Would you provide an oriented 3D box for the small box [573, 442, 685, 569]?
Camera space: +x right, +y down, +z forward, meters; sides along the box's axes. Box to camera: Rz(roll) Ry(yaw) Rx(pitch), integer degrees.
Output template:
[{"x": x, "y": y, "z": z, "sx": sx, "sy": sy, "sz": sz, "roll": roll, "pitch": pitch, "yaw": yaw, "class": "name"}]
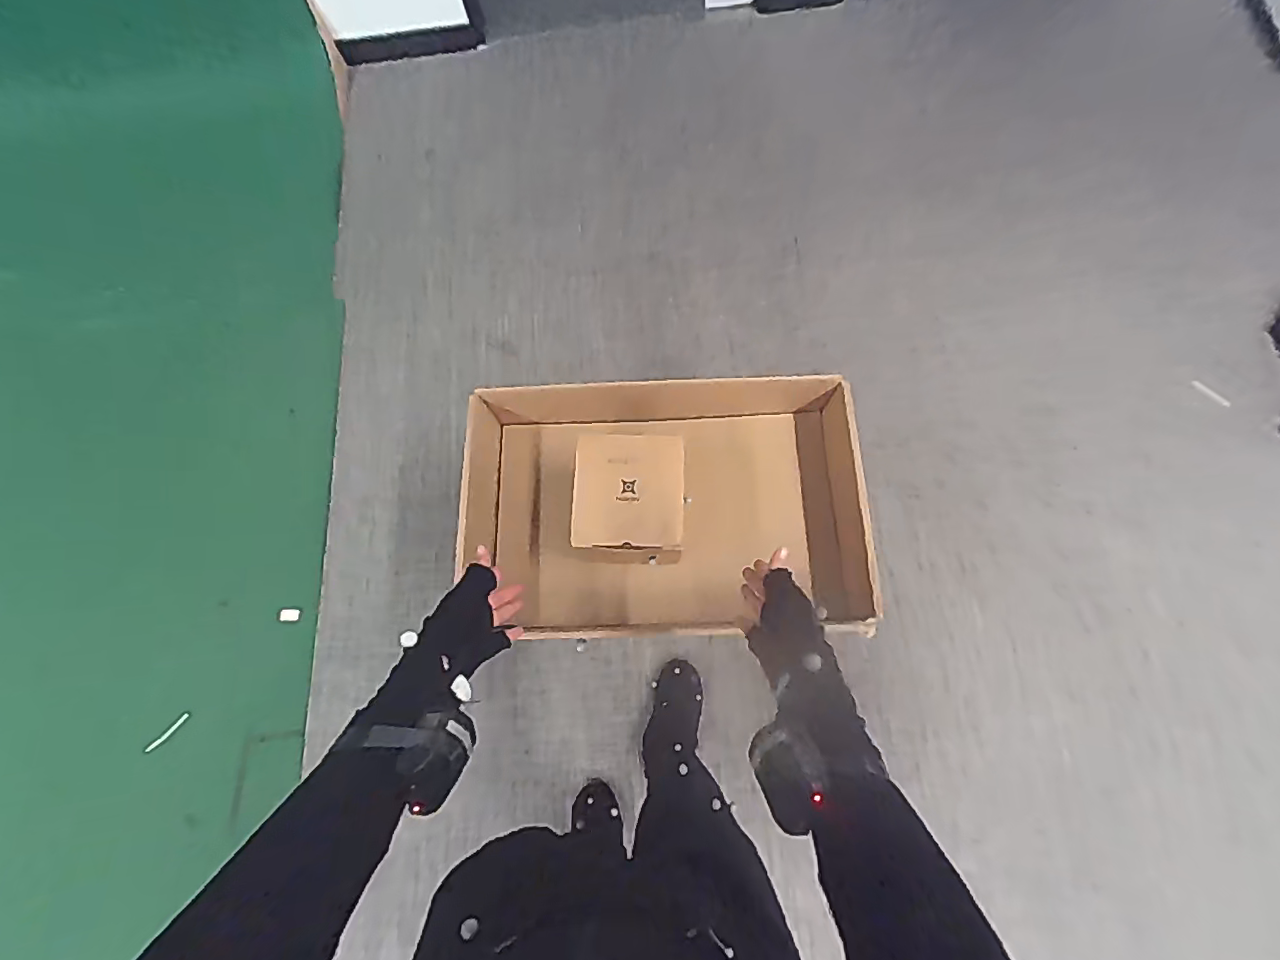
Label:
[{"x": -0.012, "y": 0.049, "z": 0.881, "sx": 0.168, "sy": 0.176, "sz": 0.179, "roll": 0, "pitch": 72, "yaw": 1, "class": "small box"}]
